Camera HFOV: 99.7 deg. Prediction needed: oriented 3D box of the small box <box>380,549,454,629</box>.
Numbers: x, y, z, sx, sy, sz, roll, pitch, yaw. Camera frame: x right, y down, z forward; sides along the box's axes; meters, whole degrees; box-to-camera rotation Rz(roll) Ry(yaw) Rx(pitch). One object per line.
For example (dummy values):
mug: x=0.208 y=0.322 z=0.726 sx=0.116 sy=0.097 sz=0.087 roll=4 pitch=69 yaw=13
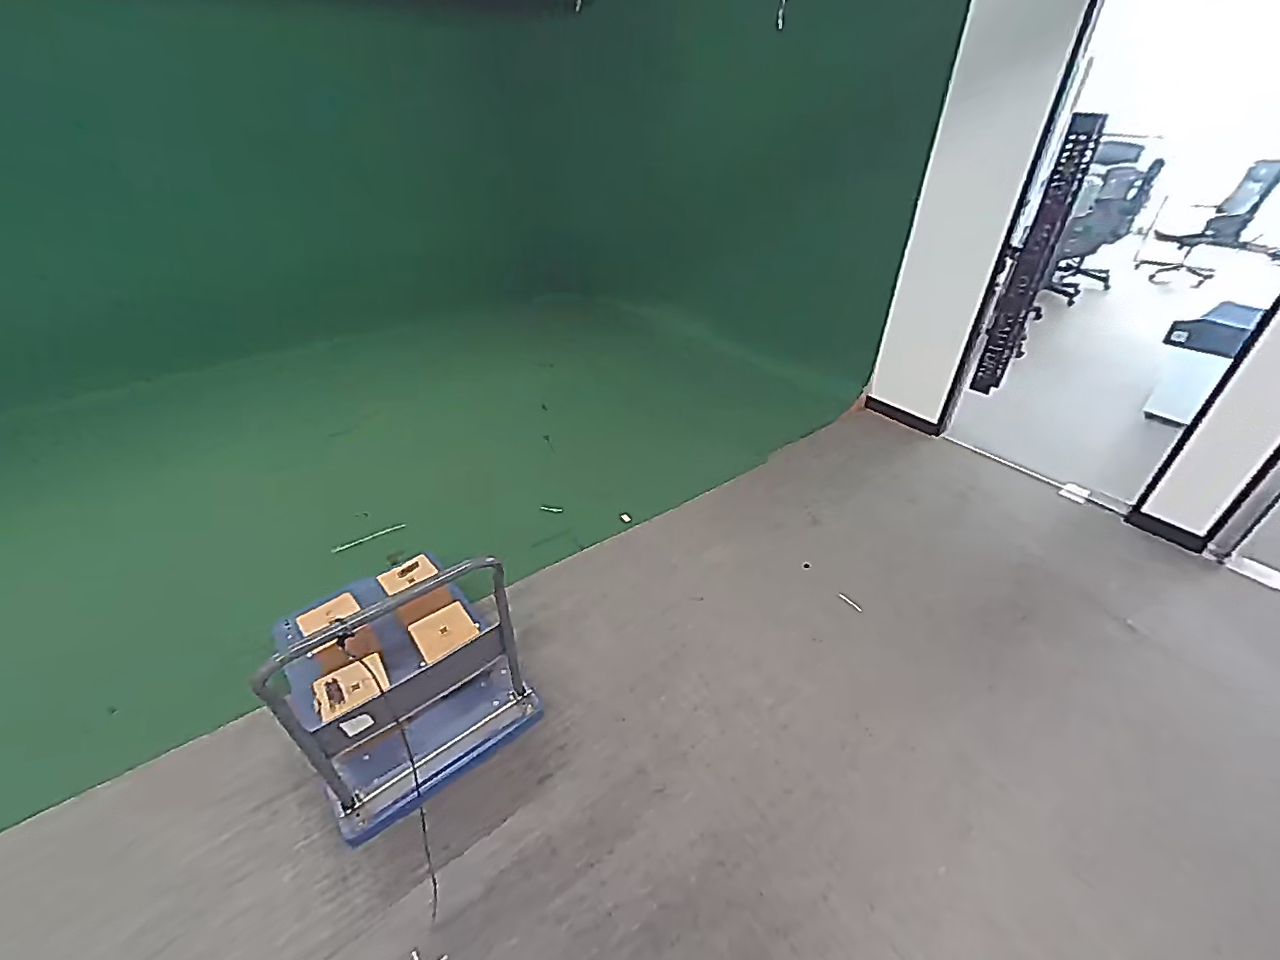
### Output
small box: x=-0.756 y=0.375 z=1.844 sx=0.168 sy=0.176 sz=0.179 roll=-30 pitch=47 yaw=-32

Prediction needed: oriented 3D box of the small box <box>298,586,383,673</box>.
small box: x=-0.941 y=0.479 z=1.708 sx=0.168 sy=0.176 sz=0.179 roll=-28 pitch=45 yaw=-33

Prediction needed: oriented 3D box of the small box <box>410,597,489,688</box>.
small box: x=-0.588 y=0.504 z=1.677 sx=0.168 sy=0.176 sz=0.179 roll=-25 pitch=45 yaw=-29
